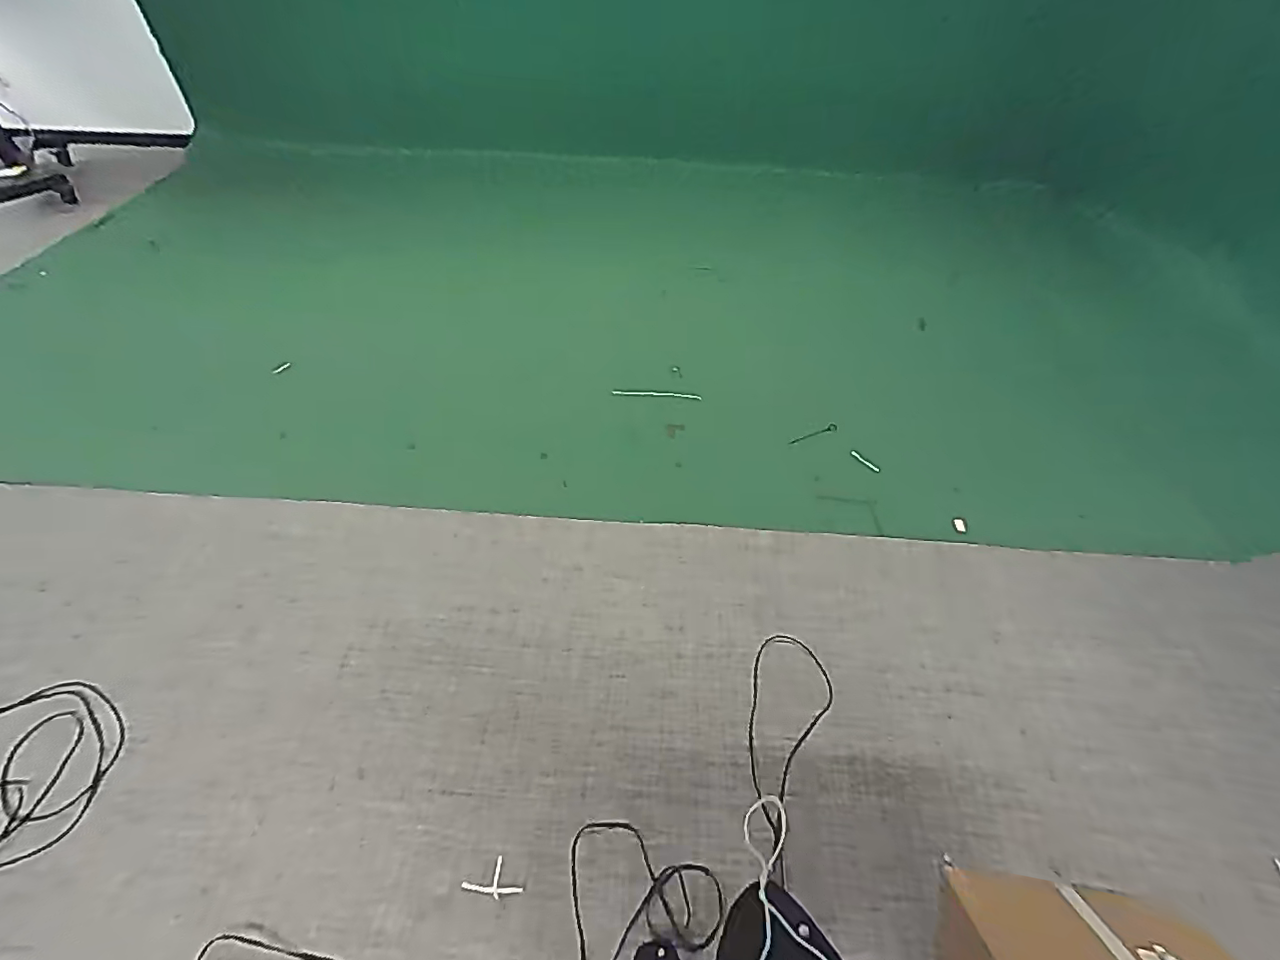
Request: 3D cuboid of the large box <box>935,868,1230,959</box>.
[{"bbox_3d":[0.554,0.730,0.582,0.320,0.408,0.320,5,89,9],"label":"large box"}]
